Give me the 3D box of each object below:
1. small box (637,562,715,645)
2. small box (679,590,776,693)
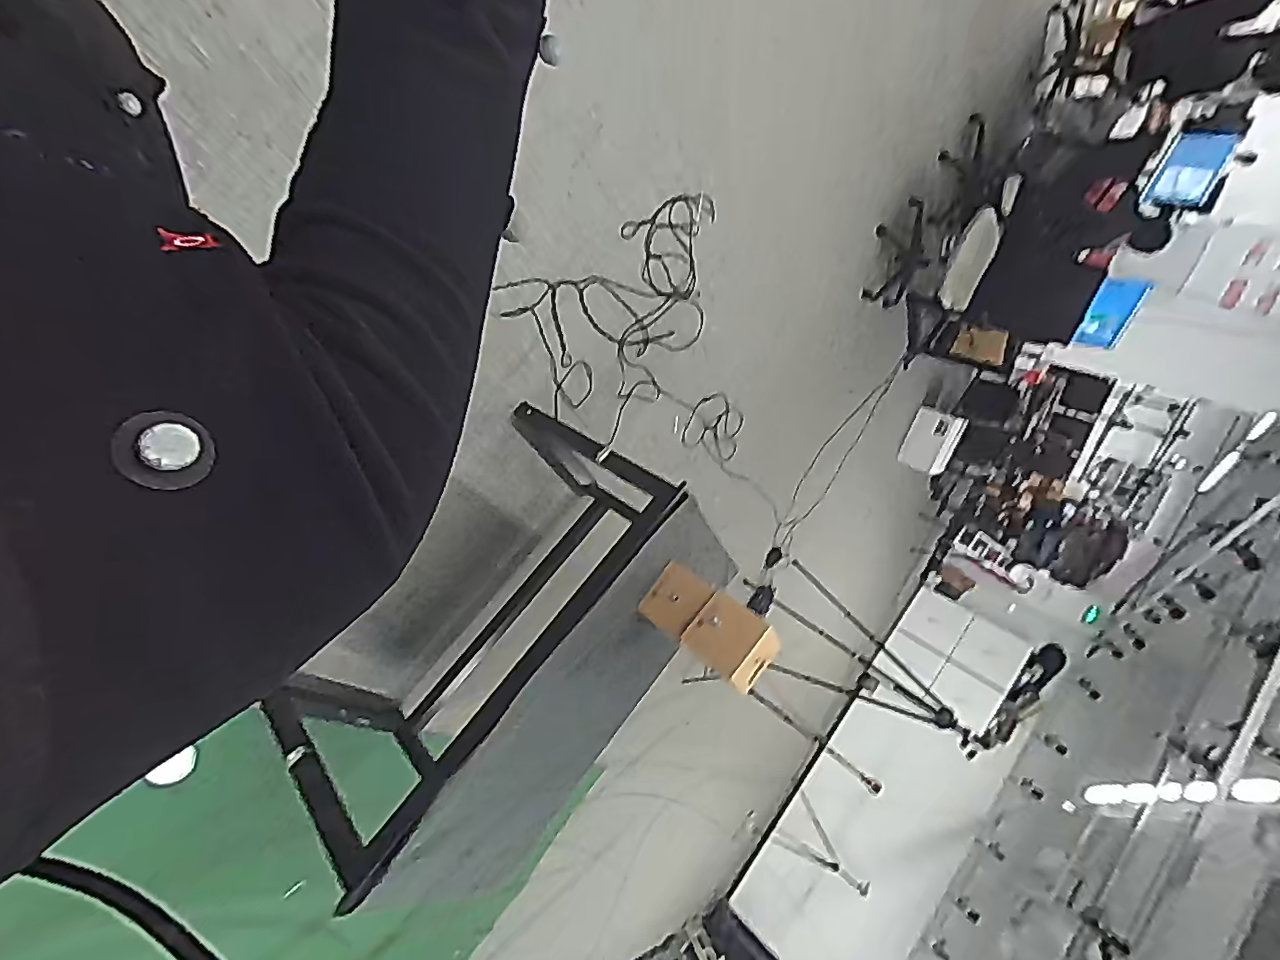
[{"bbox_3d":[0.119,0.351,1.508,0.168,0.176,0.179,-52,144,-7],"label":"small box"},{"bbox_3d":[0.227,0.414,1.400,0.168,0.176,0.179,-48,142,-14],"label":"small box"}]
